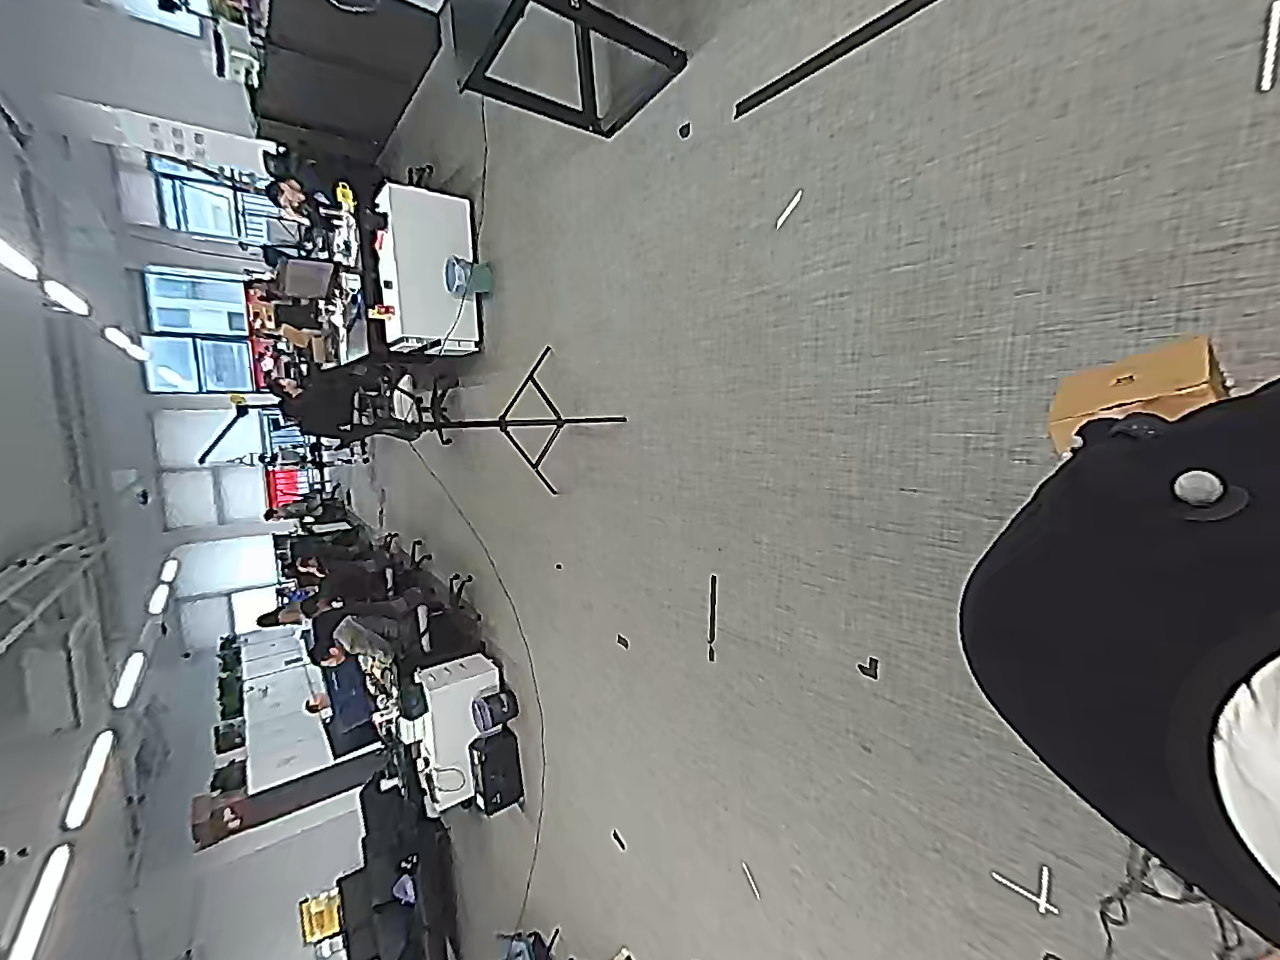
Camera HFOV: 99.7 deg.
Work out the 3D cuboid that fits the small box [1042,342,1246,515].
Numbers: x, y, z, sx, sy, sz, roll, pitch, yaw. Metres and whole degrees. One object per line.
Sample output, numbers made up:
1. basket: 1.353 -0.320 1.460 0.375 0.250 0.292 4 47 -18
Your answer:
1. small box: 0.704 -0.061 0.756 0.168 0.179 0.176 -18 105 51
